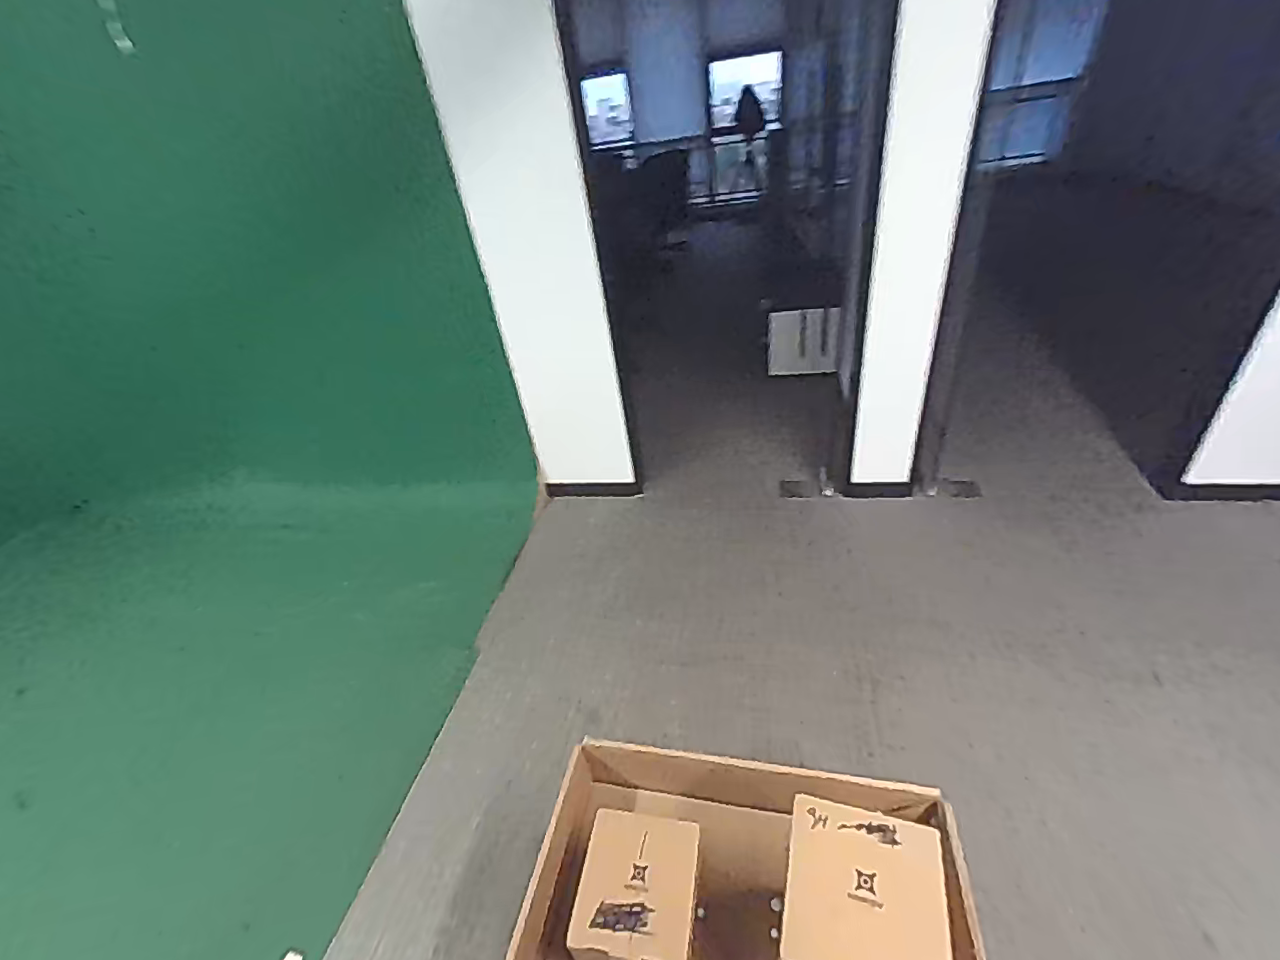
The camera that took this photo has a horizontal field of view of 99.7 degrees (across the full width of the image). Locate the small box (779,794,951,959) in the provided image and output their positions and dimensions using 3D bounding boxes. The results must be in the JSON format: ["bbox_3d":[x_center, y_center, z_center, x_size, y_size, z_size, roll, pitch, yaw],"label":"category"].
[{"bbox_3d":[0.261,0.518,0.640,0.168,0.176,0.179,5,38,20],"label":"small box"}]
